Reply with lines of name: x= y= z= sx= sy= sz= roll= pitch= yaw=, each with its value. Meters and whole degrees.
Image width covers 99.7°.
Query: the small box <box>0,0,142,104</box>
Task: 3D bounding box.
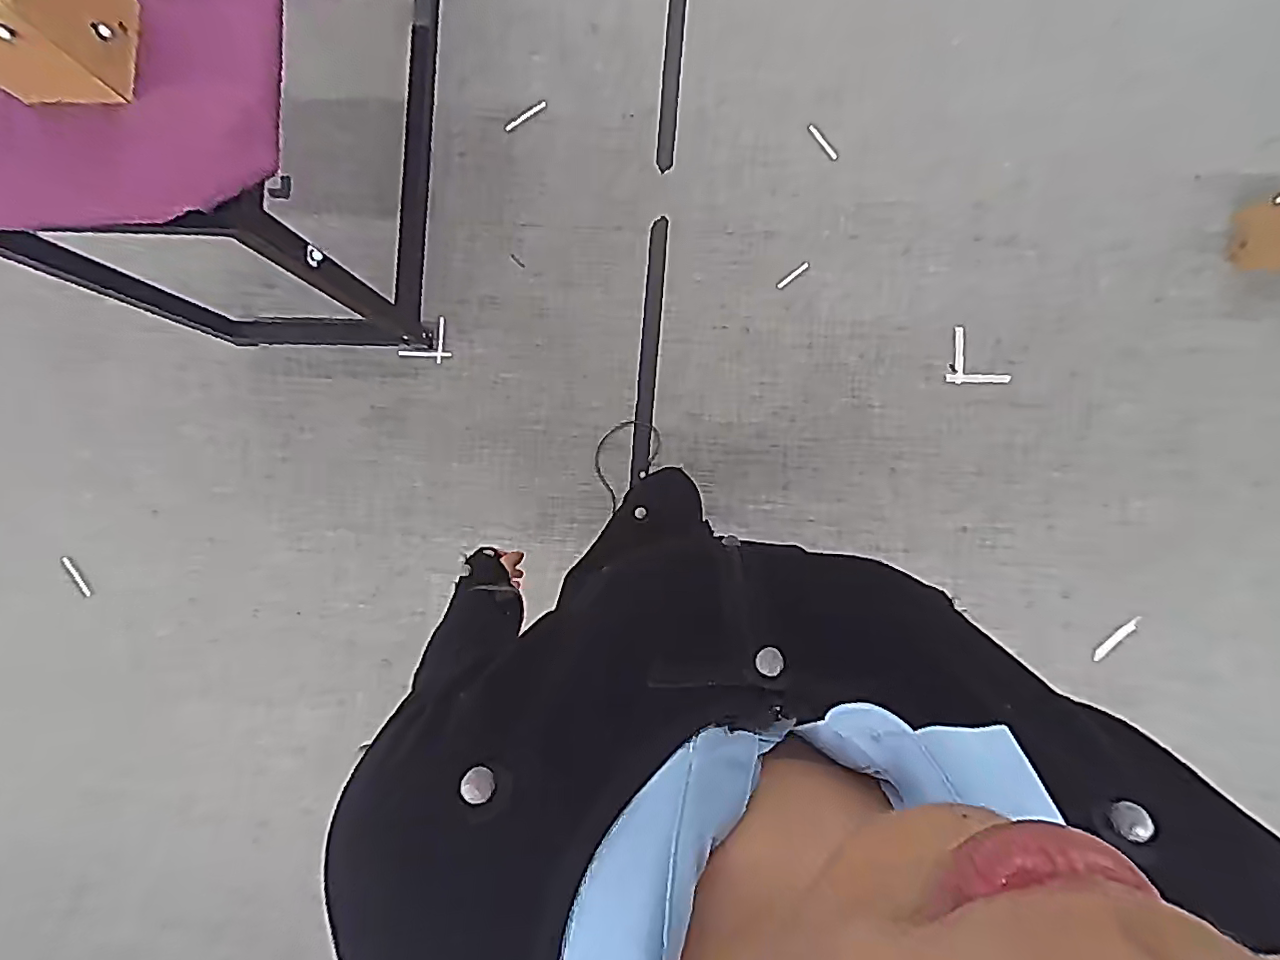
small box: x=-0.873 y=-0.669 z=0.765 sx=0.179 sy=0.176 sz=0.168 roll=1 pitch=87 yaw=1
